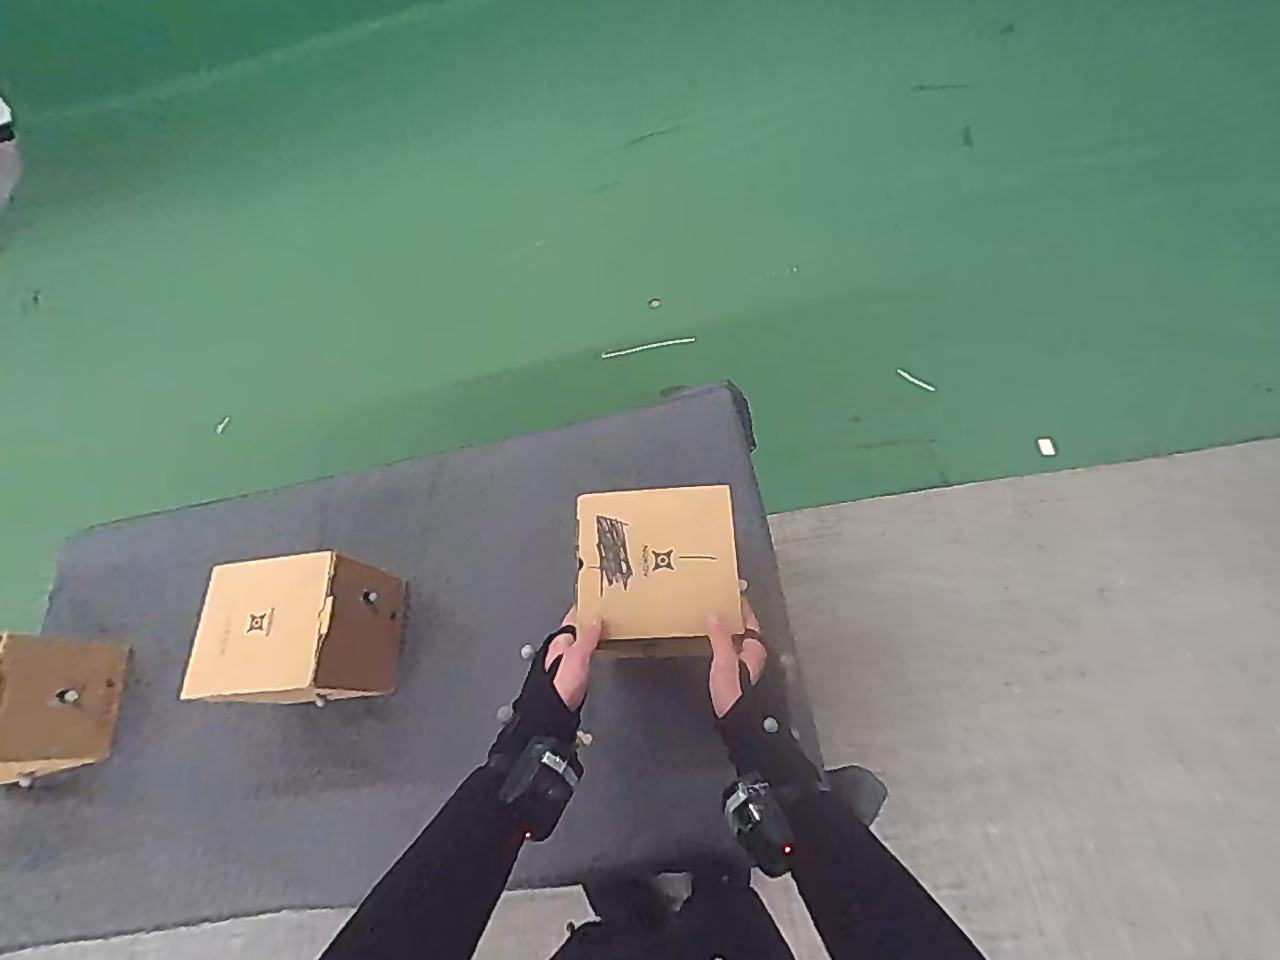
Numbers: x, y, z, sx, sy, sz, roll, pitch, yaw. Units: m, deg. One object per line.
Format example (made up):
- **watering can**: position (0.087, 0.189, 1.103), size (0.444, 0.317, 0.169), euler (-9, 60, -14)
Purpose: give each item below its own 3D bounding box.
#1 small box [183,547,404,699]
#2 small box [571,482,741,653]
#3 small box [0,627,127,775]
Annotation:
- **small box**: position (-0.448, 0.200, 0.732), size (0.179, 0.176, 0.168), euler (-9, 64, 9)
- **small box**: position (0.024, 0.113, 0.647), size (0.179, 0.176, 0.168), euler (-3, 66, 5)
- **small box**: position (-0.893, 0.319, 0.765), size (0.179, 0.176, 0.168), euler (-15, 65, 3)
